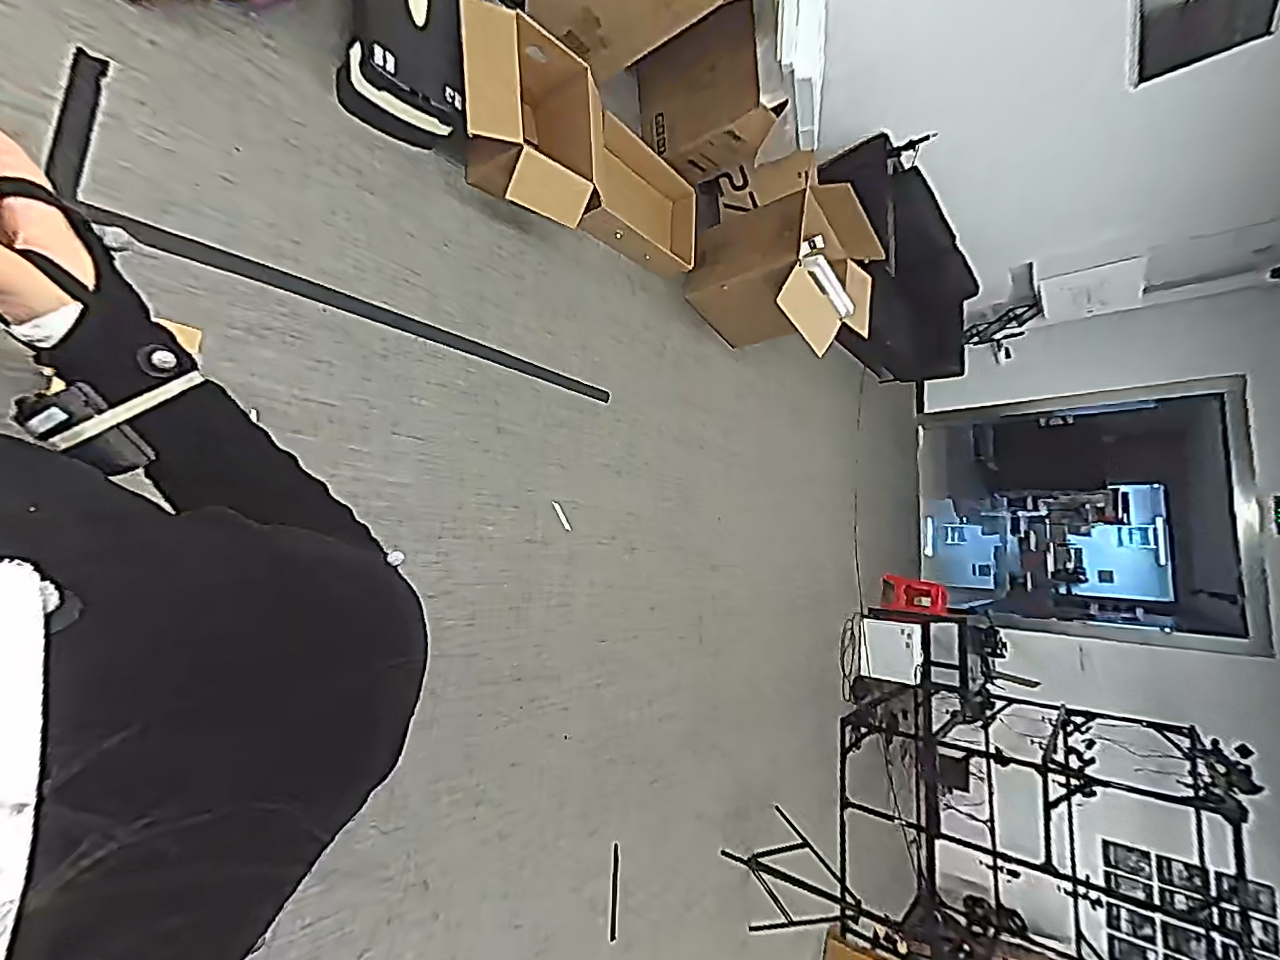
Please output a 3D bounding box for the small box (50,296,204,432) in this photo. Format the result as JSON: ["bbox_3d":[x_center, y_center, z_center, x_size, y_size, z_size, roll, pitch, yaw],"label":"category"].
[{"bbox_3d":[-0.915,-0.194,0.964,0.168,0.176,0.179,14,77,-48],"label":"small box"}]
